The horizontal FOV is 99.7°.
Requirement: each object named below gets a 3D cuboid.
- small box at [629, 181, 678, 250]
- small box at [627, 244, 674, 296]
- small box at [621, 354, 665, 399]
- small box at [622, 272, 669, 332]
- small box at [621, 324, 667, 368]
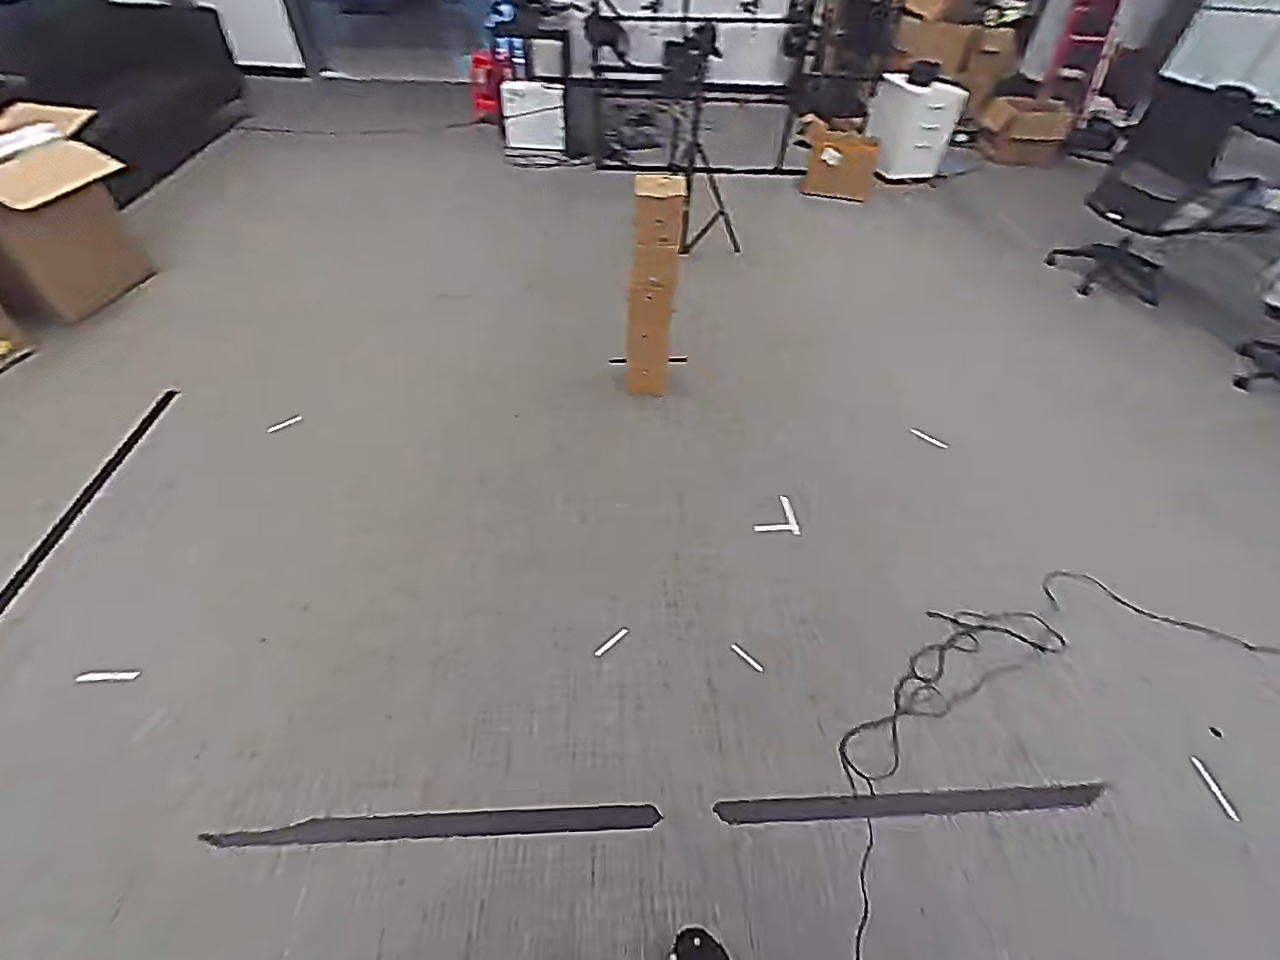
[{"bbox_3d":[0.046,-0.922,1.892,0.168,0.176,0.179,2,49,-1],"label":"small box"},{"bbox_3d":[0.041,-0.806,2.008,0.168,0.176,0.179,3,49,1],"label":"small box"},{"bbox_3d":[0.012,-0.468,2.362,0.179,0.176,0.168,3,48,0],"label":"small box"},{"bbox_3d":[0.022,-0.699,2.131,0.179,0.176,0.168,4,49,0],"label":"small box"},{"bbox_3d":[0.017,-0.585,2.246,0.179,0.176,0.168,6,49,3],"label":"small box"}]
